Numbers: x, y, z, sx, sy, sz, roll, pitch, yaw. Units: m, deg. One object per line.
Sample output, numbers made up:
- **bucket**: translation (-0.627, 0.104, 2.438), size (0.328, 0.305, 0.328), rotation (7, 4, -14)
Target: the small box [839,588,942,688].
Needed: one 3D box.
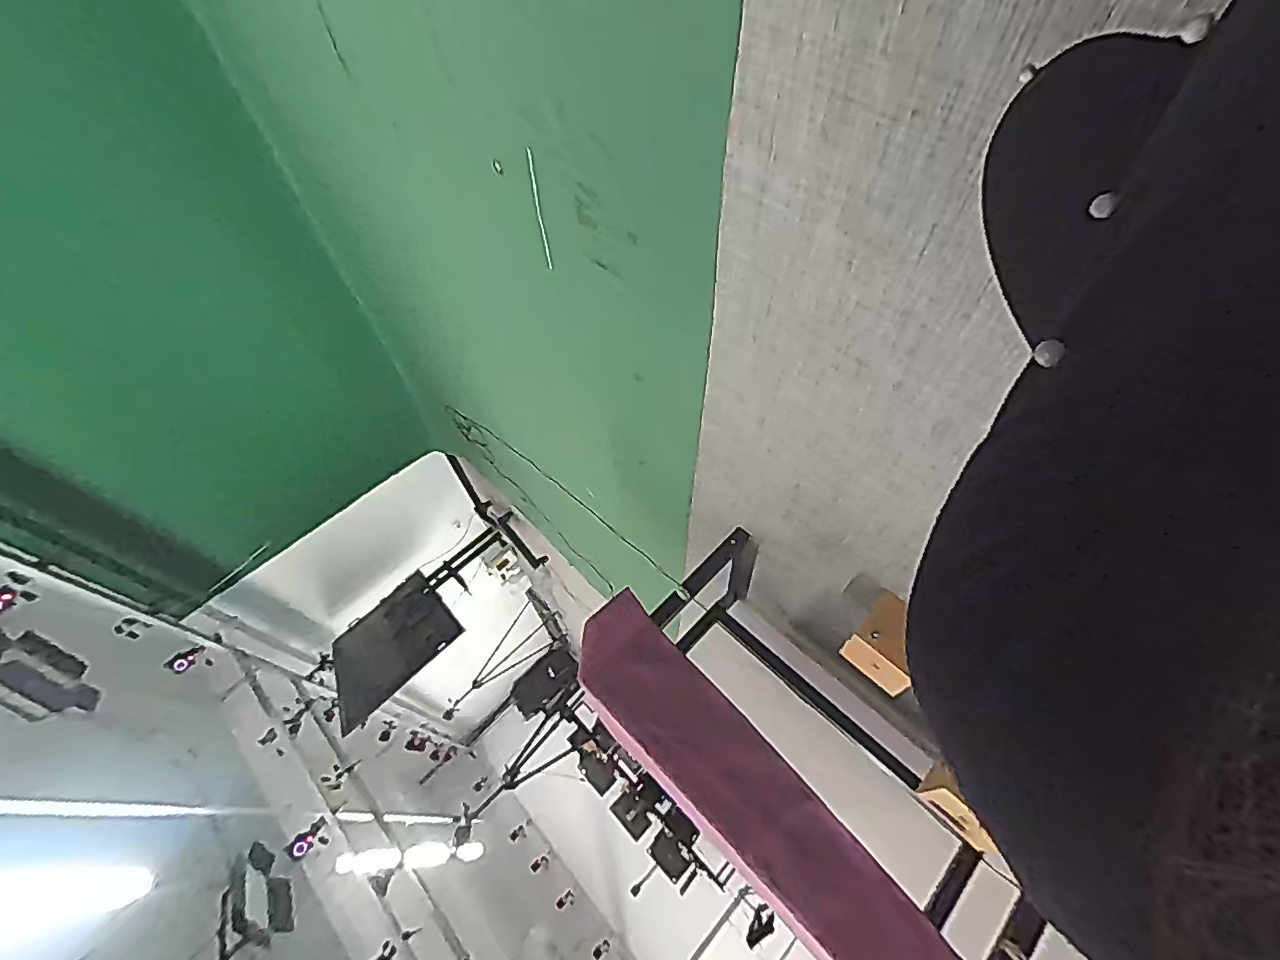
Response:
- **small box**: translation (0.684, 0.430, 1.479), size (0.179, 0.176, 0.168), rotation (40, 157, 25)
